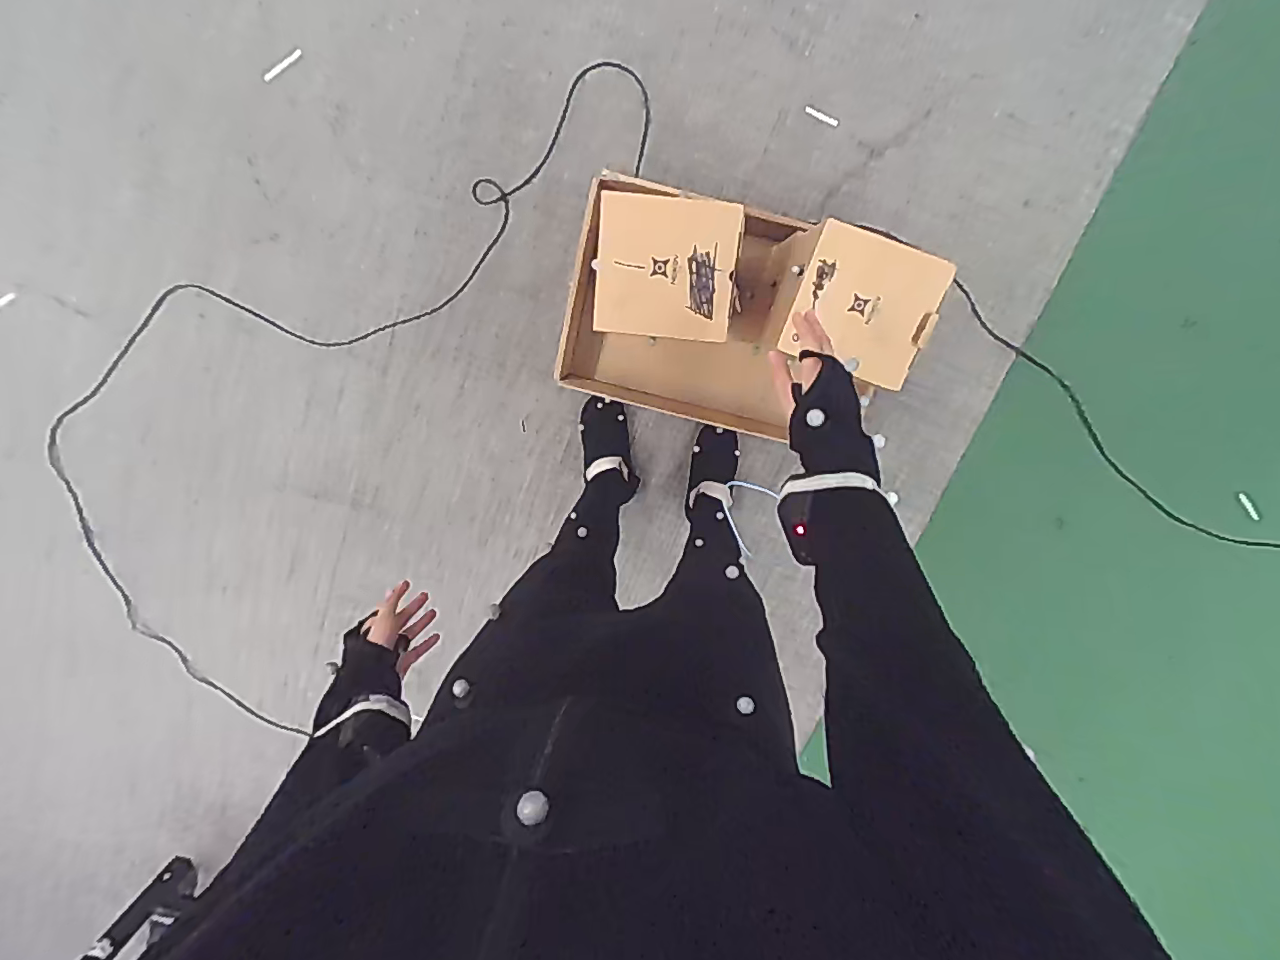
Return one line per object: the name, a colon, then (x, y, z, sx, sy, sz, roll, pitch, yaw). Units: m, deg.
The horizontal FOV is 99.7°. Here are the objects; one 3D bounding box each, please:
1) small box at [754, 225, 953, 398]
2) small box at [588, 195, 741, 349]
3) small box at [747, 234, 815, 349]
small box: (0.279, -0.230, 0.753, 0.179, 0.176, 0.168, 19, 105, -3)
small box: (0.029, -0.280, 0.749, 0.179, 0.176, 0.168, 6, 107, 0)
small box: (0.290, -0.288, 0.908, 0.168, 0.176, 0.179, 16, 106, -2)
